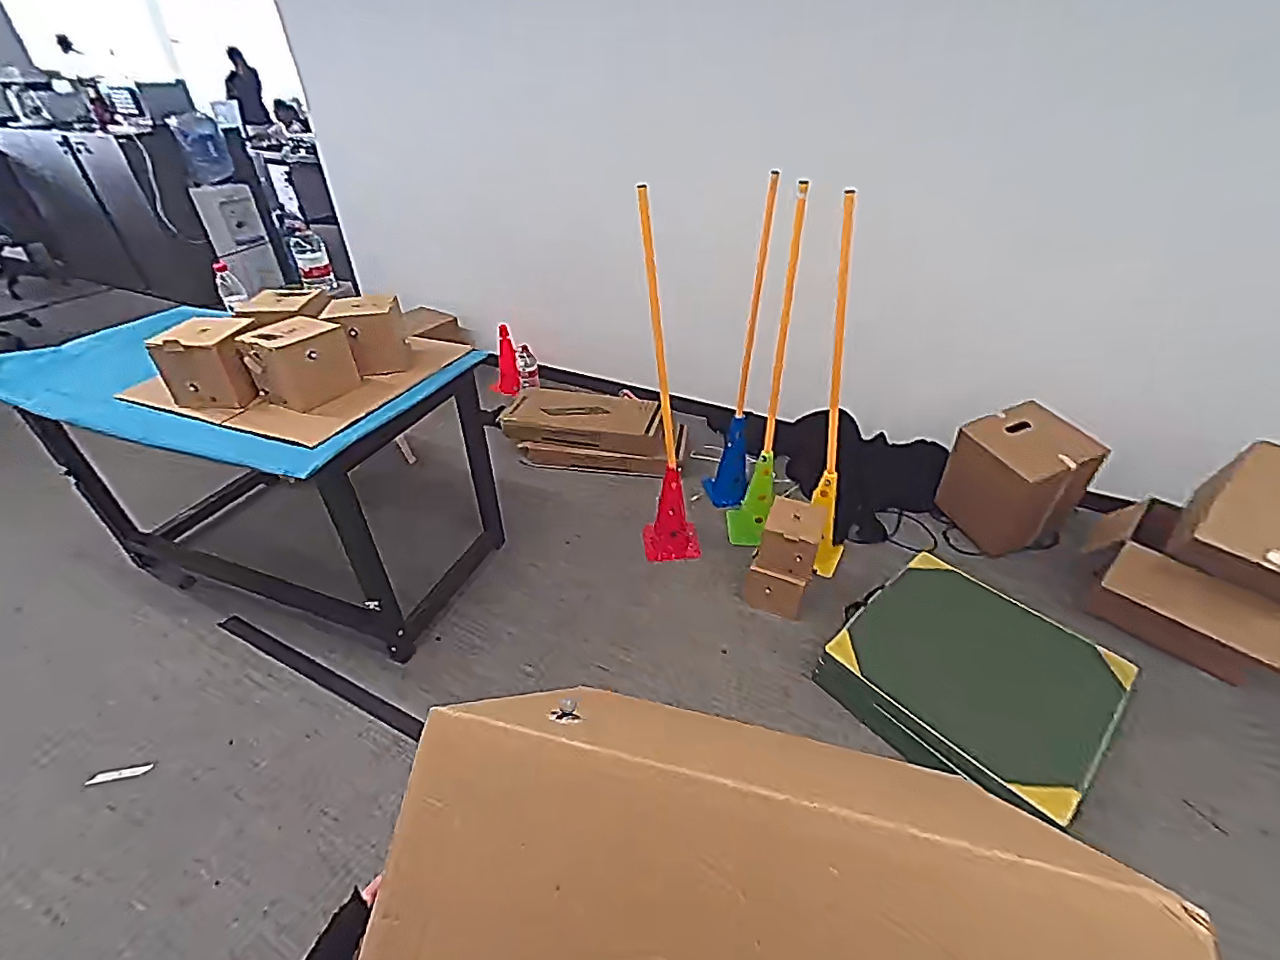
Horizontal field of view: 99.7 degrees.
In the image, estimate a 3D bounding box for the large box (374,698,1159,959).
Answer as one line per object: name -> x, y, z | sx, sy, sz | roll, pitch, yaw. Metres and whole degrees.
large box -> 0.059, 0.365, 0.403 | 0.408, 0.320, 0.320 | 7, 74, 14
